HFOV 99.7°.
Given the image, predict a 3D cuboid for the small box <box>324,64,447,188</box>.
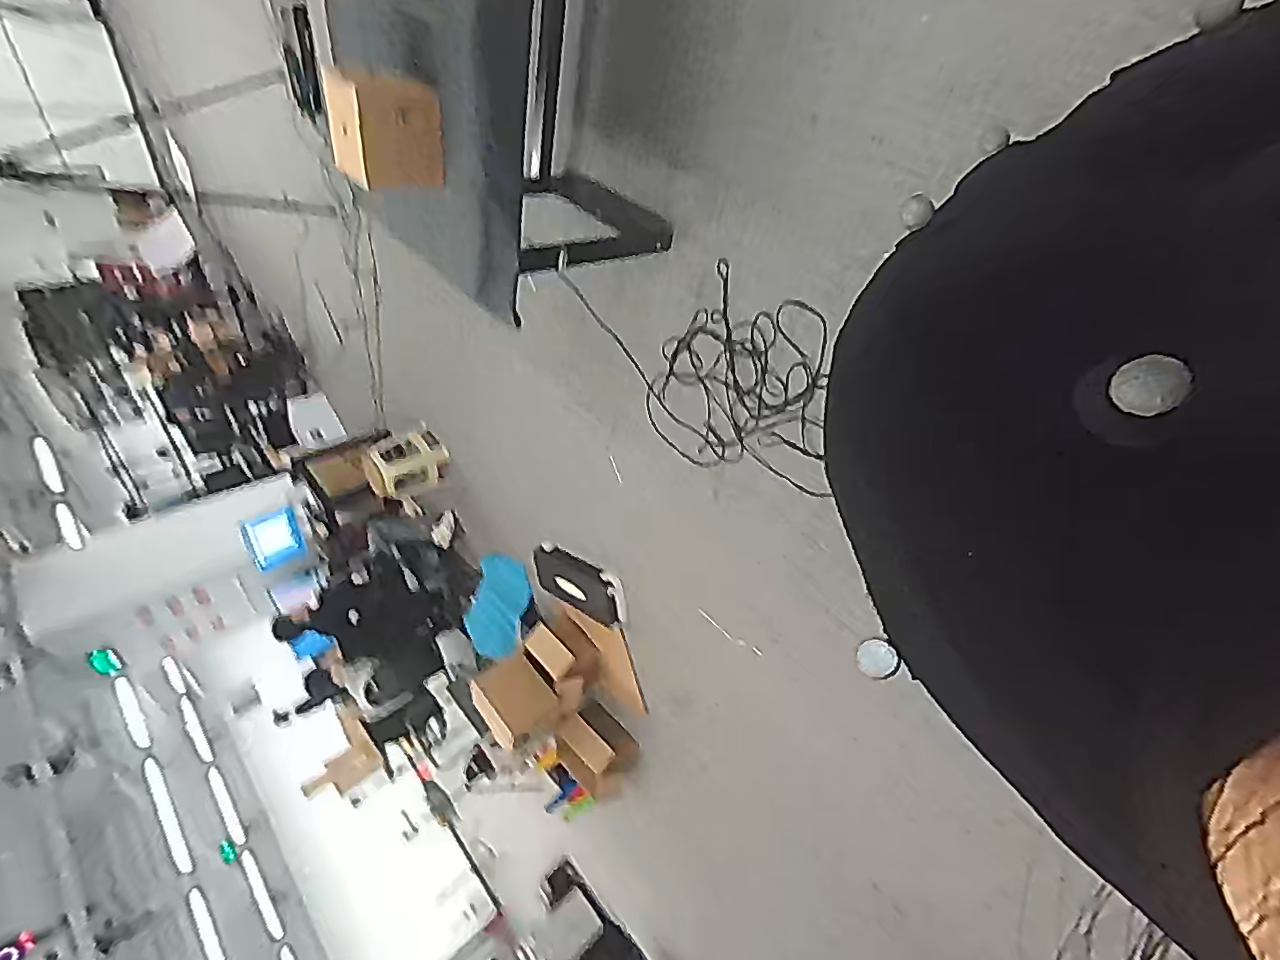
[{"bbox_3d":[-0.516,-0.727,1.116,0.168,0.176,0.179,42,138,28],"label":"small box"}]
